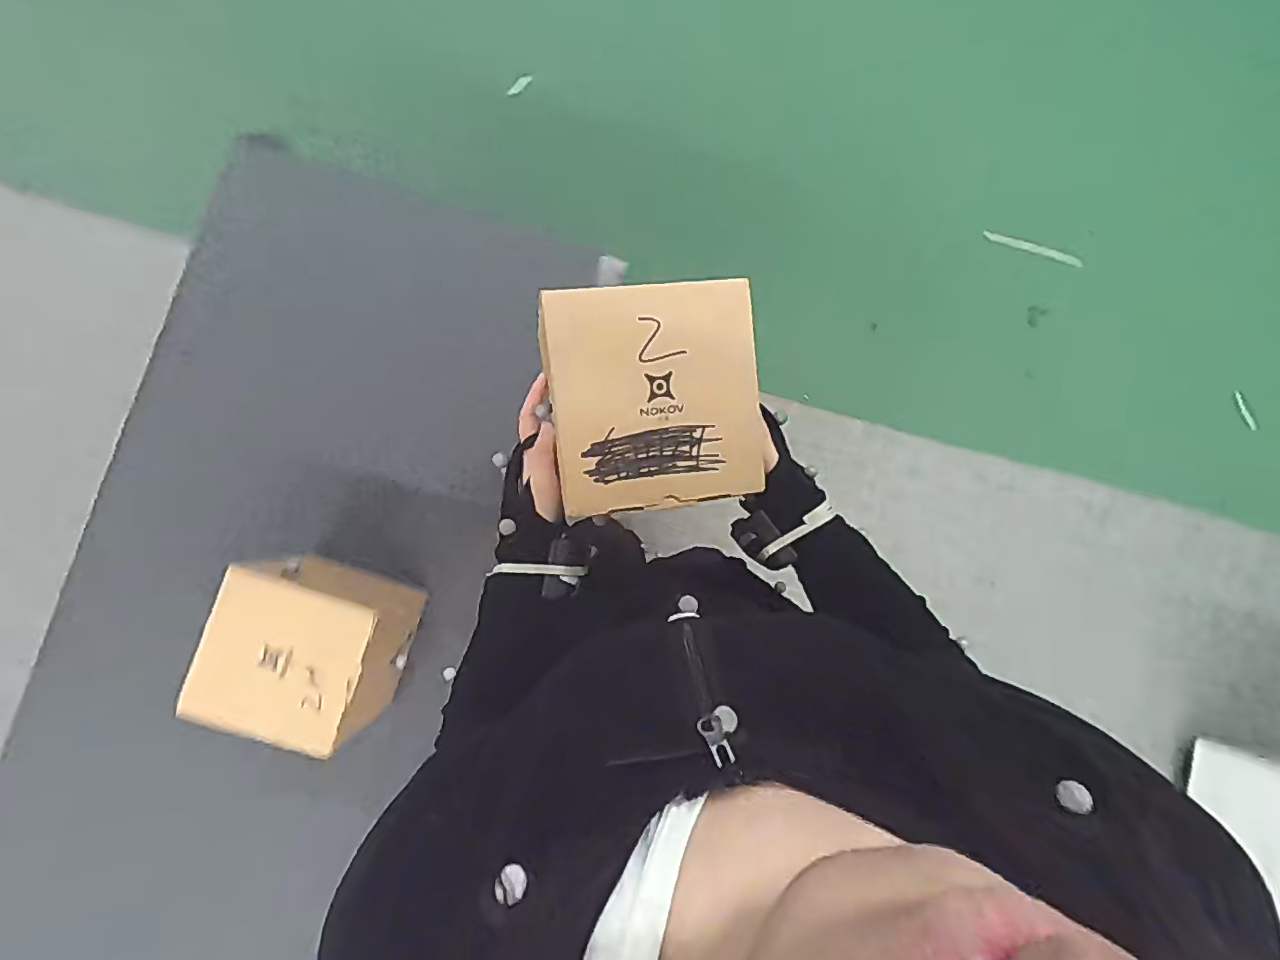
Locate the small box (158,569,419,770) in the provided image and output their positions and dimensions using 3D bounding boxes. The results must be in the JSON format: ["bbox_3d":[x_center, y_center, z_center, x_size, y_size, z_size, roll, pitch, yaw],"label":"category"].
[{"bbox_3d":[-0.401,0.210,0.651,0.179,0.176,0.168,17,85,-2],"label":"small box"}]
